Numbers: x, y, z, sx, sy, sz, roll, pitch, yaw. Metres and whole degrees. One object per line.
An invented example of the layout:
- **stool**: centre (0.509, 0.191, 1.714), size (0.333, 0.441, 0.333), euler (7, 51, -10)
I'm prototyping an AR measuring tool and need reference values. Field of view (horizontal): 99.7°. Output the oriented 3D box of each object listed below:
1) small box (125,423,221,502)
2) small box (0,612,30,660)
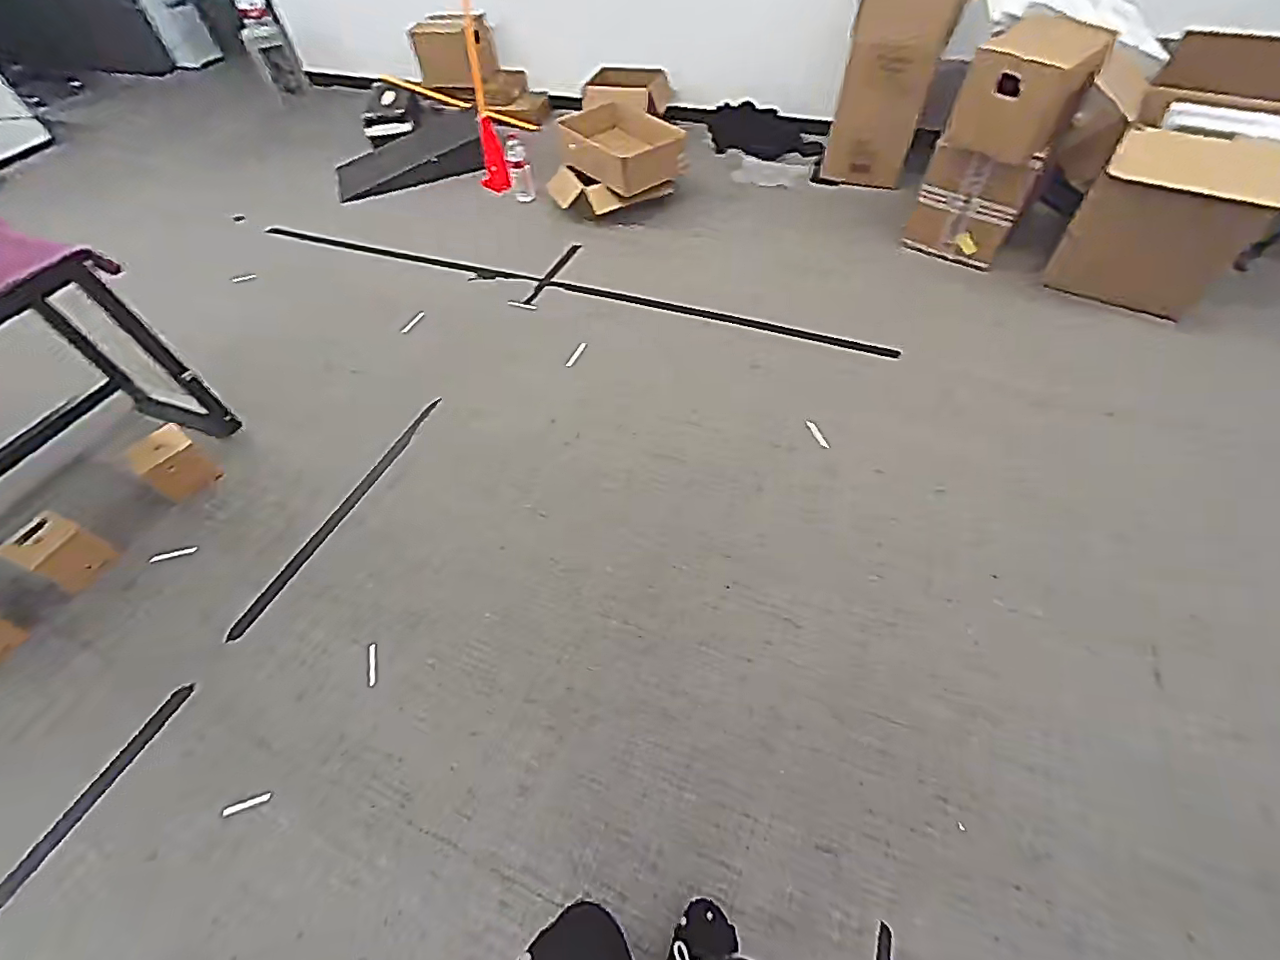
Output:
- **small box**: centre (-1.624, -0.060, 1.896), size (0.168, 0.176, 0.179), euler (33, 63, 24)
- **small box**: centre (-1.933, 0.446, 1.540), size (0.179, 0.176, 0.168), euler (17, 56, 17)
